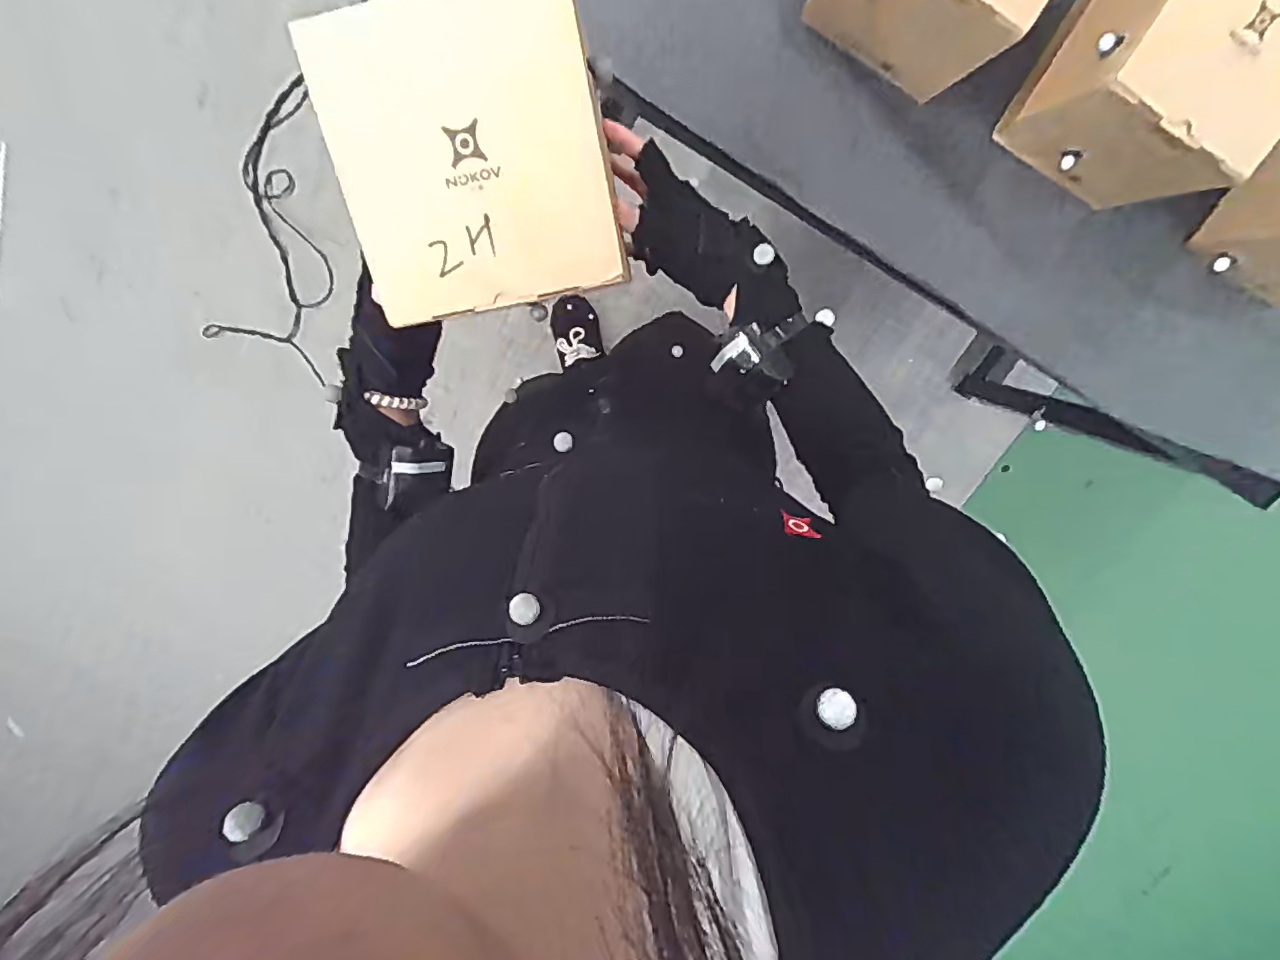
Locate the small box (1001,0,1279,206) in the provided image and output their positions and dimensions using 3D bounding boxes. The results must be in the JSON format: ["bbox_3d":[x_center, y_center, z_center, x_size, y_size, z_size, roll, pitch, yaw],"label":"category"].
[{"bbox_3d":[0.510,-0.400,0.527,0.168,0.176,0.179,25,107,-10],"label":"small box"}]

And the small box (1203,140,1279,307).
[{"bbox_3d":[0.768,-0.291,0.566,0.168,0.176,0.179,25,106,-9],"label":"small box"}]

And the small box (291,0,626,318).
[{"bbox_3d":[-0.106,-0.226,0.405,0.168,0.176,0.179,-9,110,4],"label":"small box"}]
